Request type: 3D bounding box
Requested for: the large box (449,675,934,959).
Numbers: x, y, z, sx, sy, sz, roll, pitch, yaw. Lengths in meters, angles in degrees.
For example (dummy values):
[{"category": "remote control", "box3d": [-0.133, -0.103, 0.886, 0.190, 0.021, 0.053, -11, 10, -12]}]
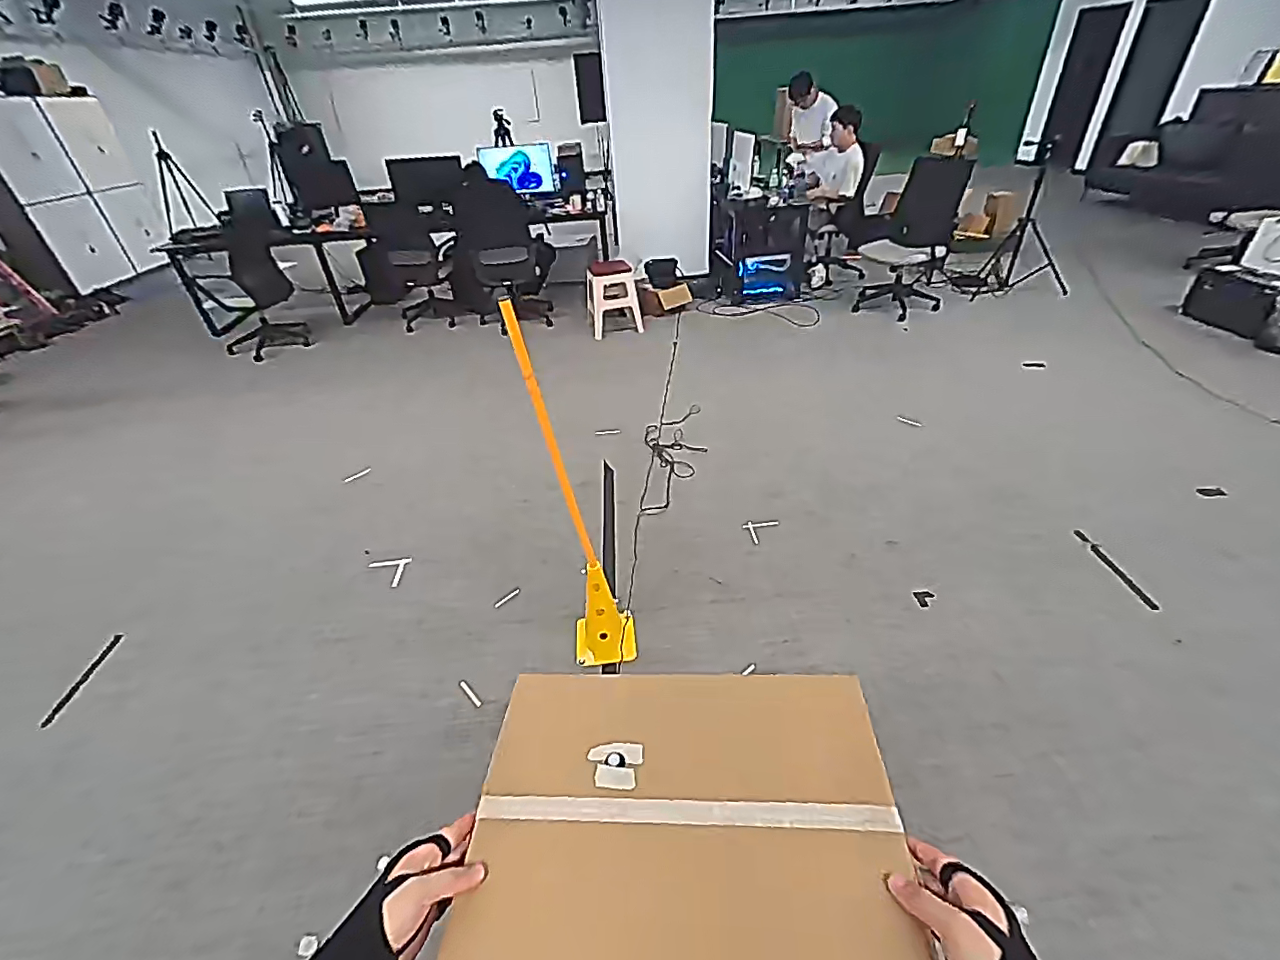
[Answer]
[{"category": "large box", "box3d": [0.060, 0.450, 0.614, 0.408, 0.320, 0.320, -4, 34, 7]}]
